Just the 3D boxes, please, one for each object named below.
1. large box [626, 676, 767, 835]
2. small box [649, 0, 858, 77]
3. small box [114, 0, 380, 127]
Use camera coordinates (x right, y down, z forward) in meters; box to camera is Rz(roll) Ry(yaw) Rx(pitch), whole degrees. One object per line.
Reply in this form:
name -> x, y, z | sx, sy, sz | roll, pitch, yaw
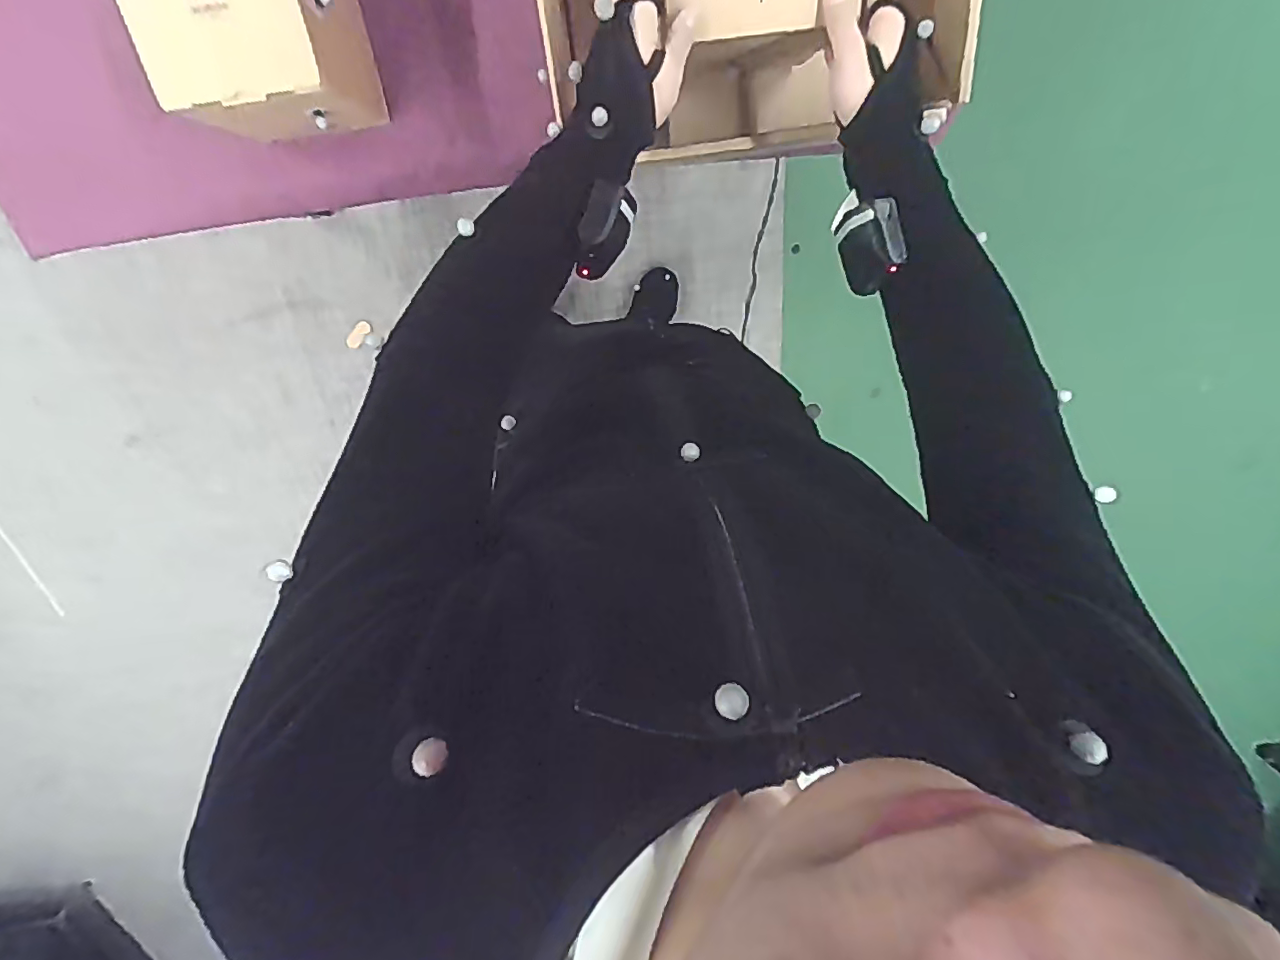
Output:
large box -> 0.192, 1.018, 2.012 | 0.408, 0.320, 0.320 | -37, 111, 14
small box -> 0.091, -0.495, 0.490 | 0.168, 0.176, 0.179 | -6, 118, 1
small box -> -0.401, -0.486, 0.563 | 0.168, 0.176, 0.179 | -6, 114, 1
